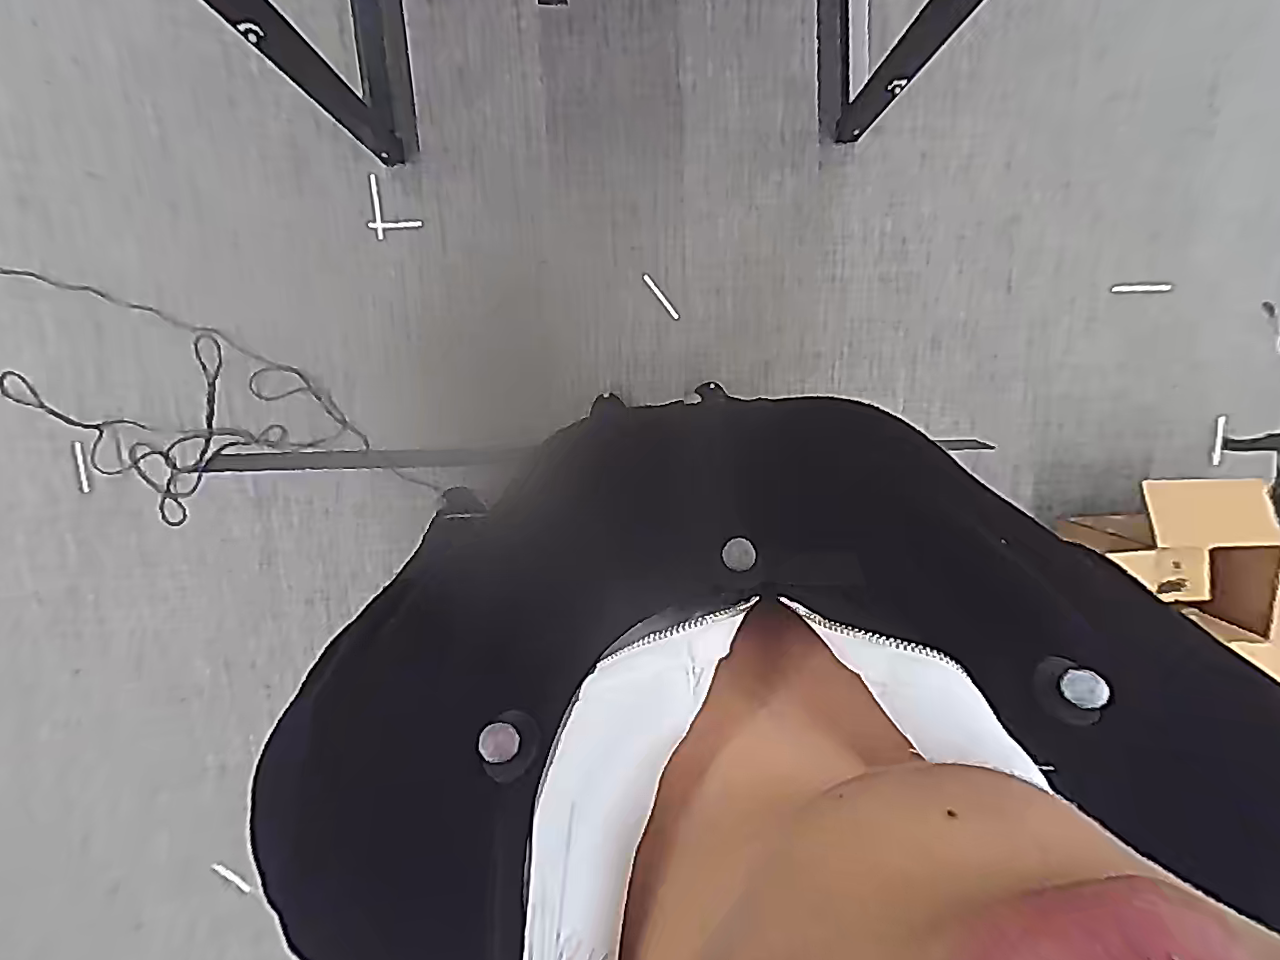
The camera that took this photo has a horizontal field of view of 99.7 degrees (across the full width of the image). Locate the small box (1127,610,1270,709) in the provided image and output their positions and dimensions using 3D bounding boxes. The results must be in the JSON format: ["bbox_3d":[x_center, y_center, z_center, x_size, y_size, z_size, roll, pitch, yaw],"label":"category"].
[{"bbox_3d":[1.353,0.436,1.325,0.168,0.176,0.179,0,100,-2],"label":"small box"}]
